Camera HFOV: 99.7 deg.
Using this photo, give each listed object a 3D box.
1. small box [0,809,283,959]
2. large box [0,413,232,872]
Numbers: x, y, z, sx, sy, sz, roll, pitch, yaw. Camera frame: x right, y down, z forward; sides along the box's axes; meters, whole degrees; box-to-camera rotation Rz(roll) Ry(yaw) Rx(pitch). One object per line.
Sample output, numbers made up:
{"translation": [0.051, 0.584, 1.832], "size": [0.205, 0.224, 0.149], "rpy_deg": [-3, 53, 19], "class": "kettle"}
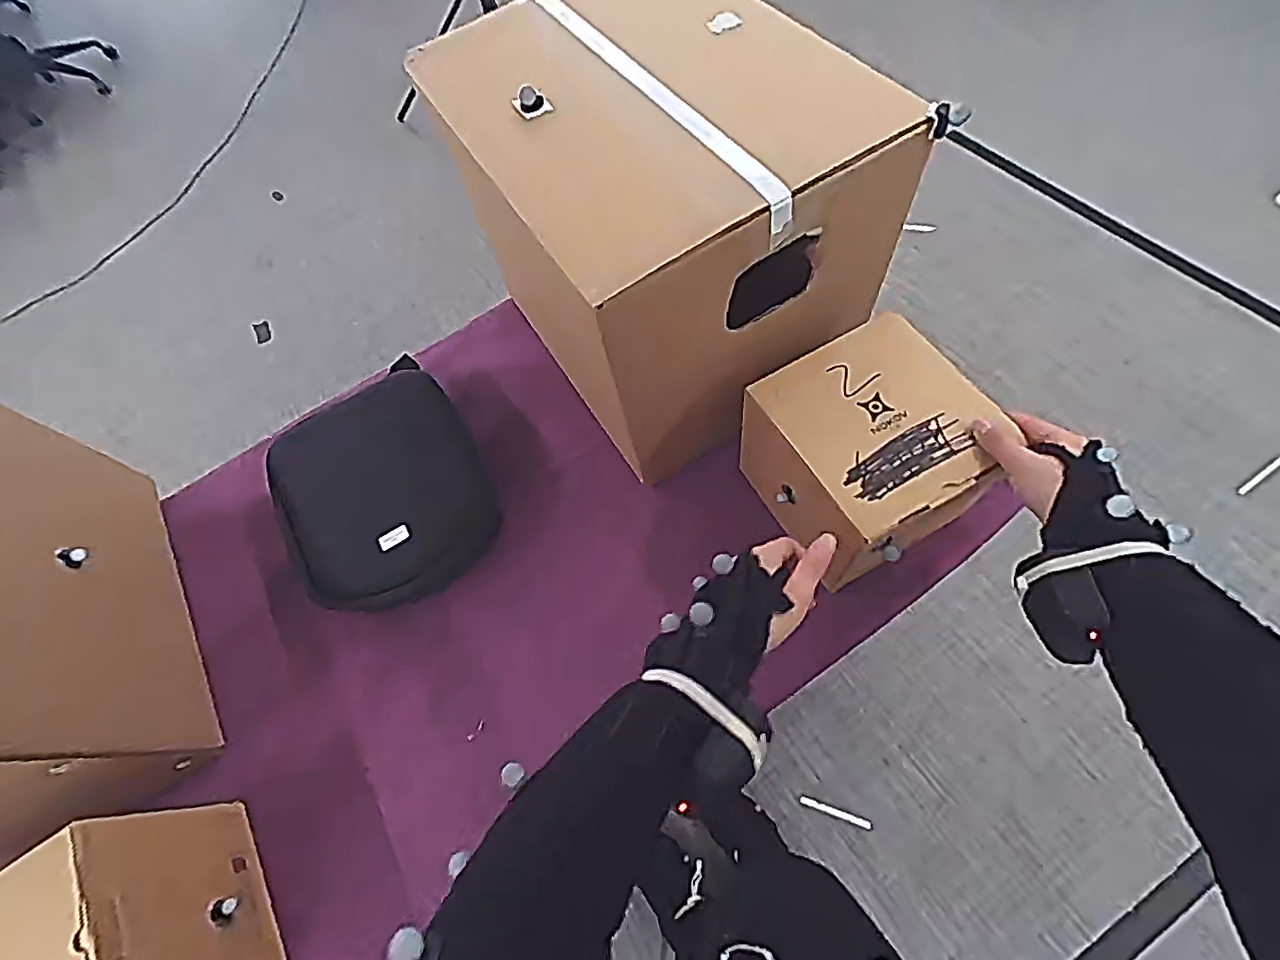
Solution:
{"translation": [-0.443, 0.401, 0.437], "size": [0.179, 0.176, 0.168], "rpy_deg": [-35, 64, -10], "class": "small box"}
{"translation": [-0.688, 0.163, 0.505], "size": [0.320, 0.320, 0.408], "rpy_deg": [-34, 67, -10], "class": "large box"}
